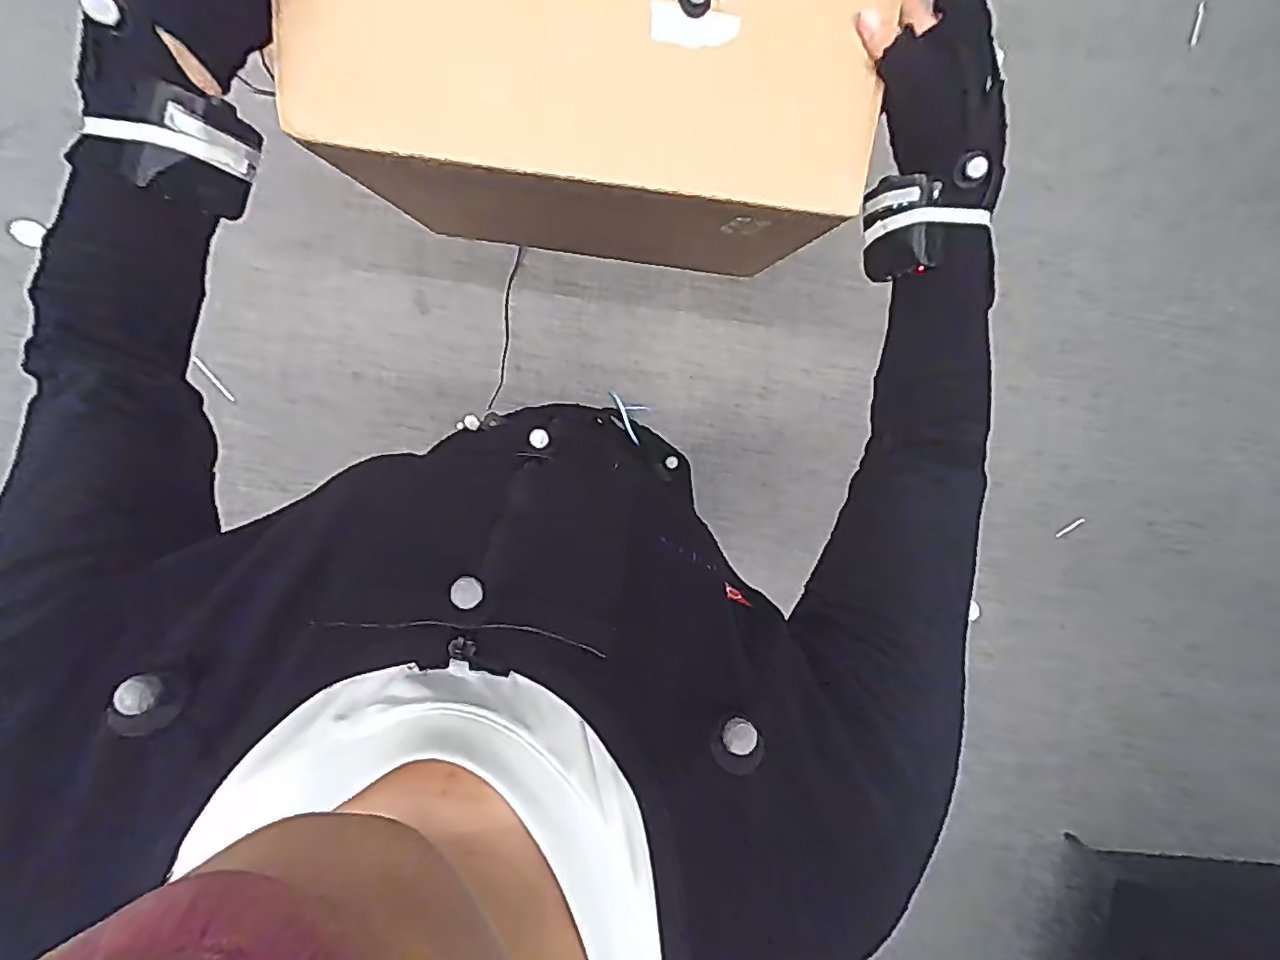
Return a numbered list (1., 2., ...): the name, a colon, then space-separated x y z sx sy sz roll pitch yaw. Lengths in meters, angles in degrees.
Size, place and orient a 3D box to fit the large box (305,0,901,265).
1. large box: -0.024 -0.403 0.496 0.408 0.320 0.320 6 103 -5
